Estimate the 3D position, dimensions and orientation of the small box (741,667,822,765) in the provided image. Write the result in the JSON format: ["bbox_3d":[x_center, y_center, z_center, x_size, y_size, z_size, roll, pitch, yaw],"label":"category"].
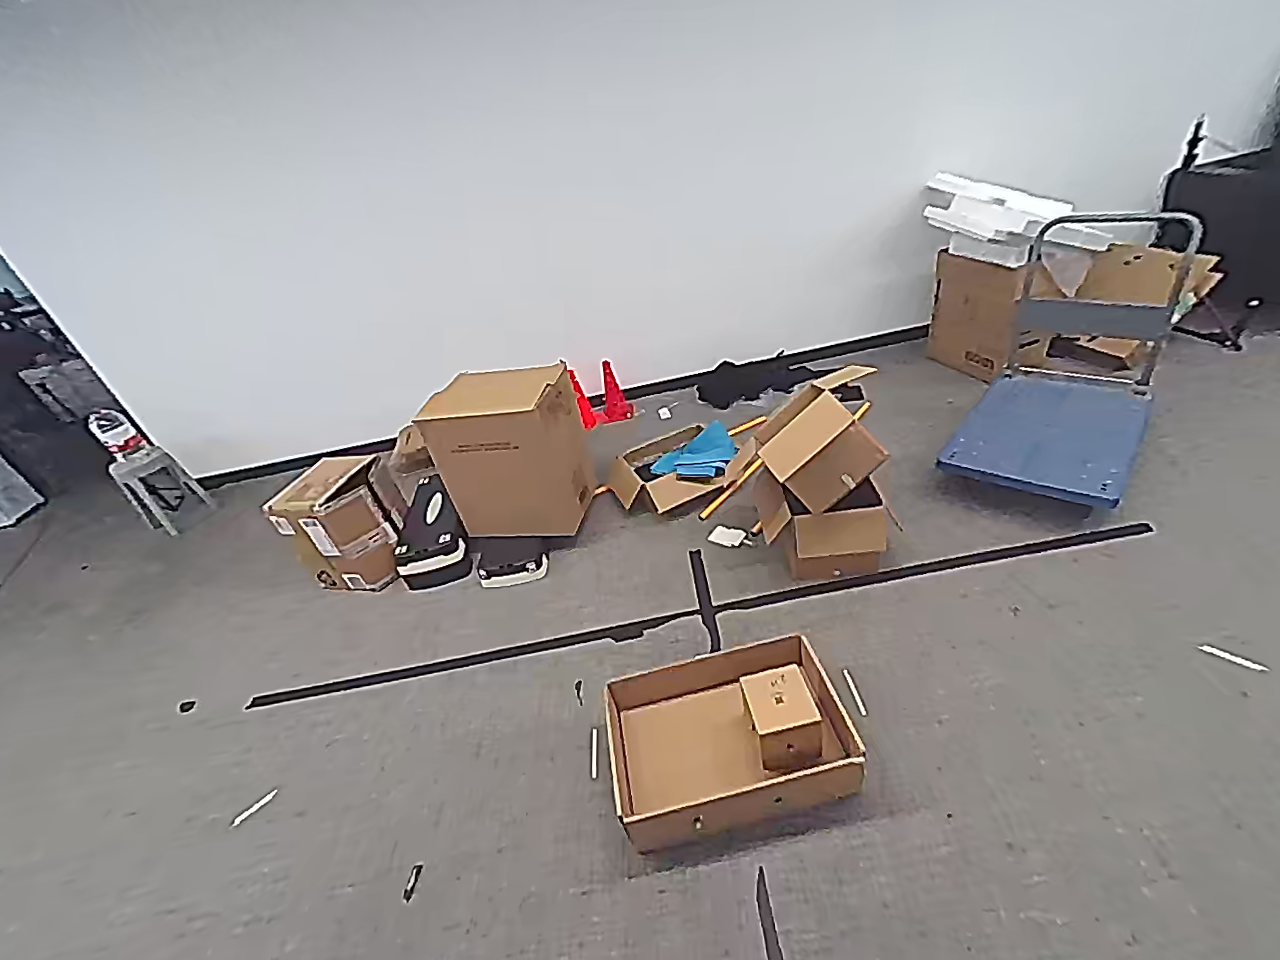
[{"bbox_3d":[0.383,0.644,1.463,0.168,0.176,0.179,-13,32,0],"label":"small box"}]
